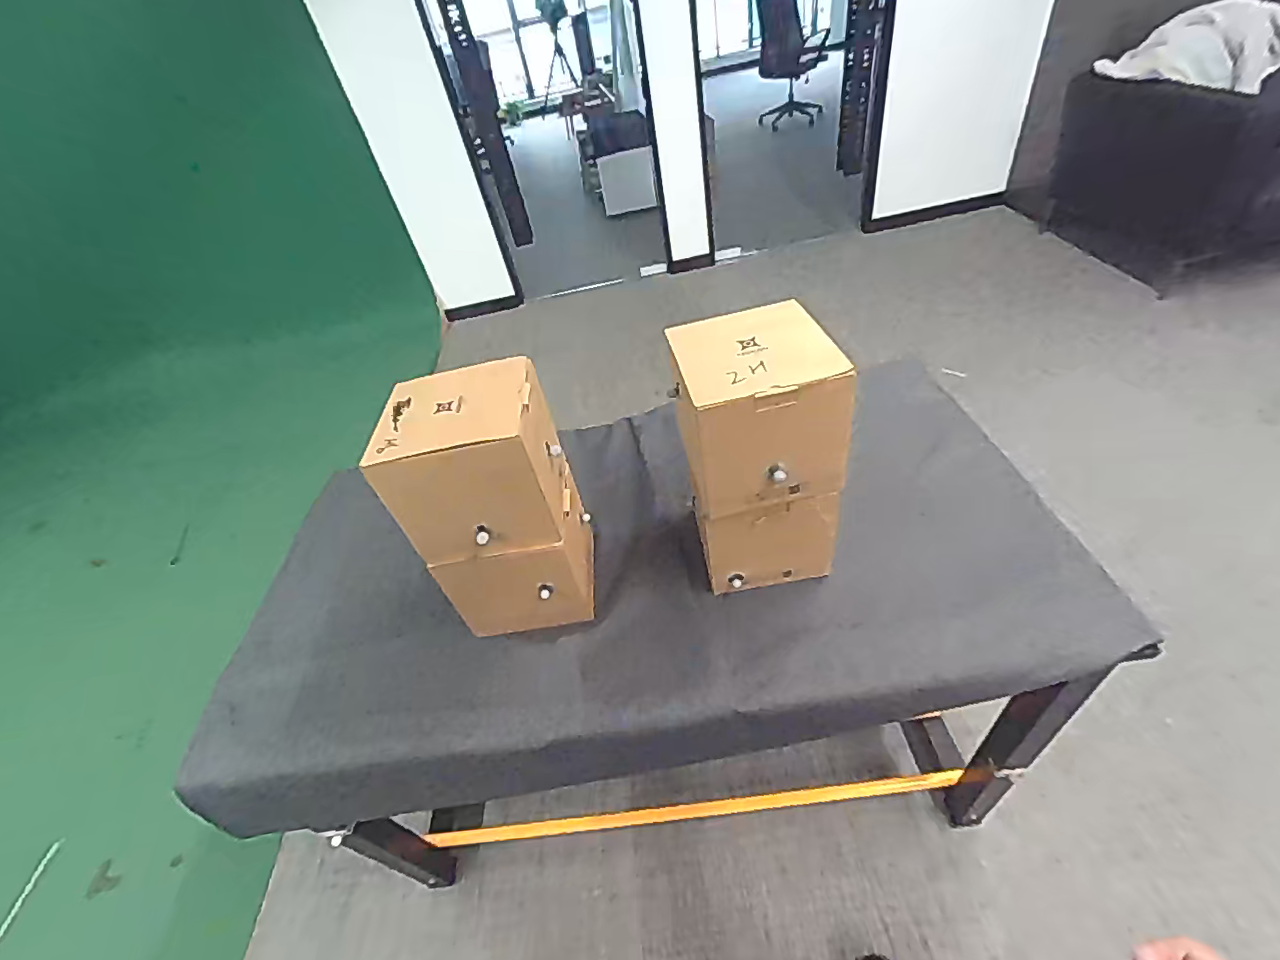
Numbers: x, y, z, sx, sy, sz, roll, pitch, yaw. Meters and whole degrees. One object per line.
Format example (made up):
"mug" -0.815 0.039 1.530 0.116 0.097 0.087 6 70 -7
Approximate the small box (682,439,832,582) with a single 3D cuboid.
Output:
"small box" 0.160 0.029 0.769 0.168 0.176 0.179 -10 41 2

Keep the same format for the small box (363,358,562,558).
"small box" -0.199 -0.026 0.672 0.179 0.176 0.168 -10 41 2

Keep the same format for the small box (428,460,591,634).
"small box" -0.170 0.098 0.776 0.179 0.176 0.168 -10 41 4

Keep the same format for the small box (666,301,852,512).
"small box" 0.135 -0.089 0.656 0.168 0.176 0.179 -13 42 0
